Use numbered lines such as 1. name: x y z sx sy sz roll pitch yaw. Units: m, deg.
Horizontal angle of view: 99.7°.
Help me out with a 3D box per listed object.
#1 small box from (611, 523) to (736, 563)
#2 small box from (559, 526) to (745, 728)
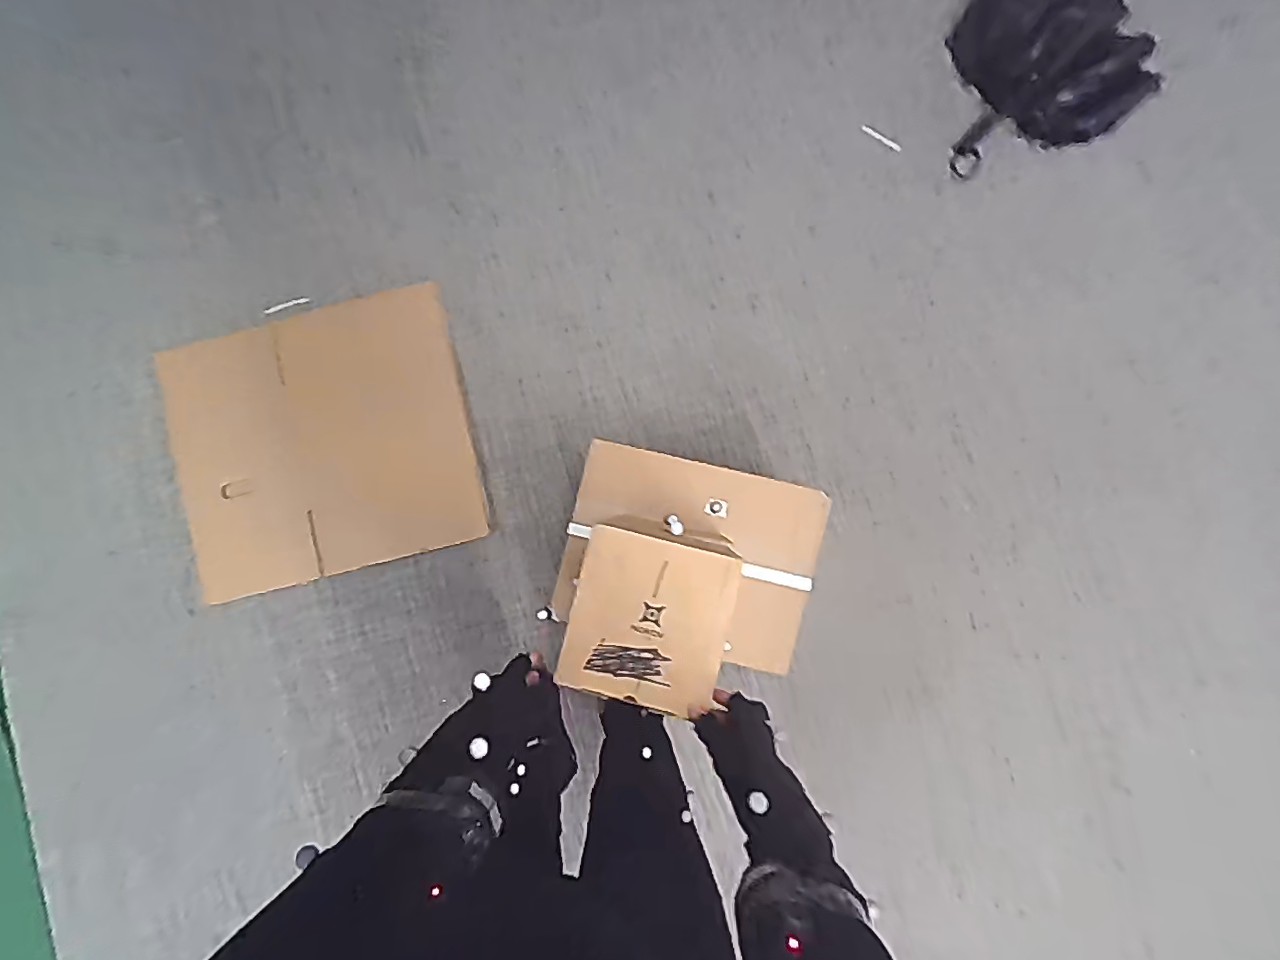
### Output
1. small box: 0.038 0.161 0.811 0.179 0.176 0.168 8 86 4
2. small box: 0.018 0.159 0.645 0.168 0.176 0.179 14 87 5
